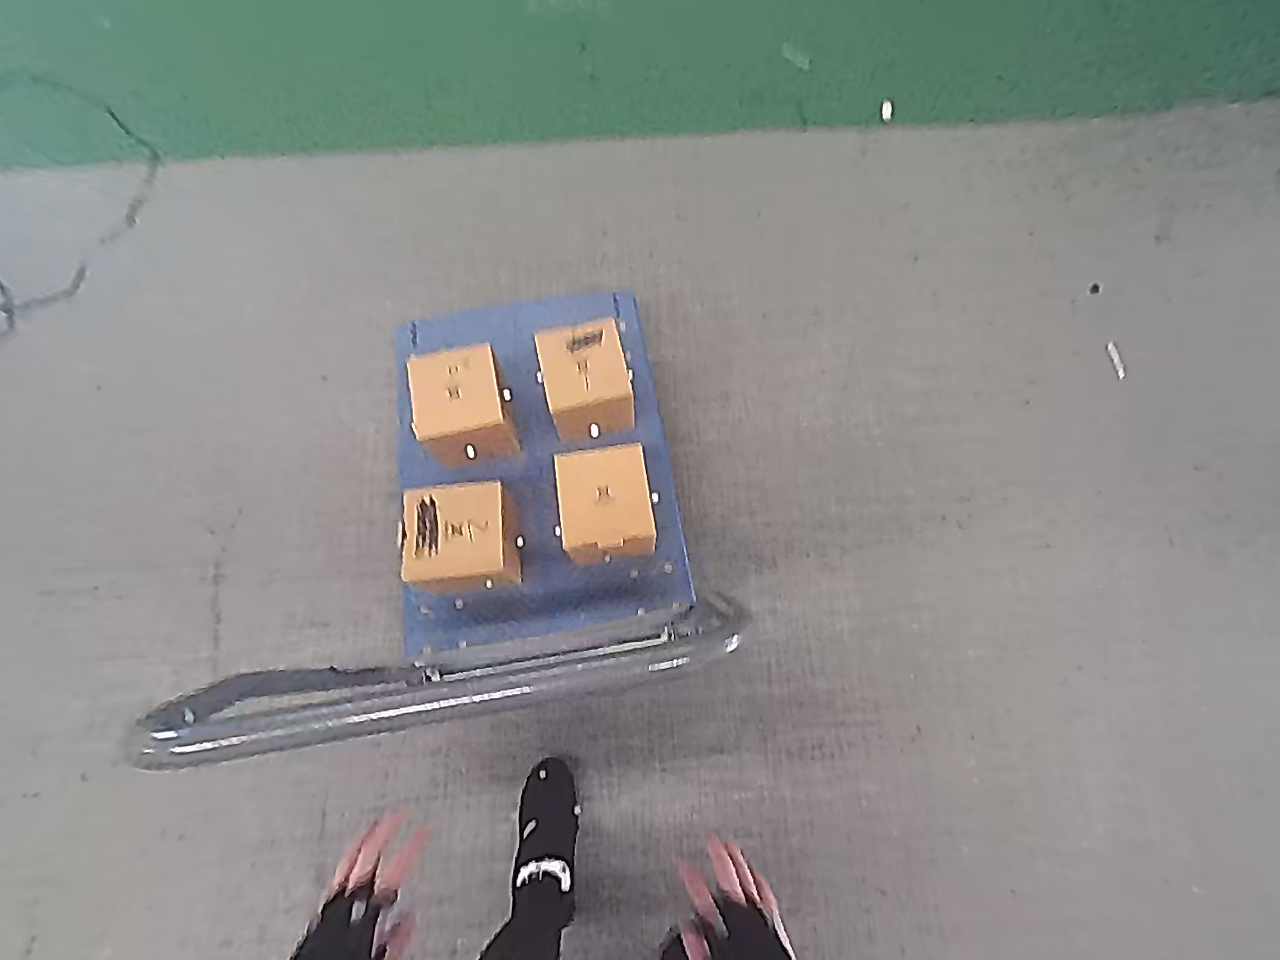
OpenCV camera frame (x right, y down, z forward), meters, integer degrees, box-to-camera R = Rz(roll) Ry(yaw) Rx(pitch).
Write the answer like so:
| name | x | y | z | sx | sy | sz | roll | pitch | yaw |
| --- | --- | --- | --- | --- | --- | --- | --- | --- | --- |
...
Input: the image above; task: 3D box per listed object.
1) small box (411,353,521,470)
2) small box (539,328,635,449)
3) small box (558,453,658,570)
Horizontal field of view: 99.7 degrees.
| name | x | y | z | sx | sy | sz | roll | pitch | yaw |
| --- | --- | --- | --- | --- | --- | --- | --- | --- | --- |
| small box | -0.352 | -0.130 | 1.115 | 0.168 | 0.176 | 0.179 | -12 | 71 | -5 |
| small box | -0.107 | -0.186 | 1.134 | 0.168 | 0.176 | 0.179 | -13 | 73 | -3 |
| small box | -0.062 | 0.066 | 1.049 | 0.168 | 0.176 | 0.179 | -8 | 72 | -3 |
